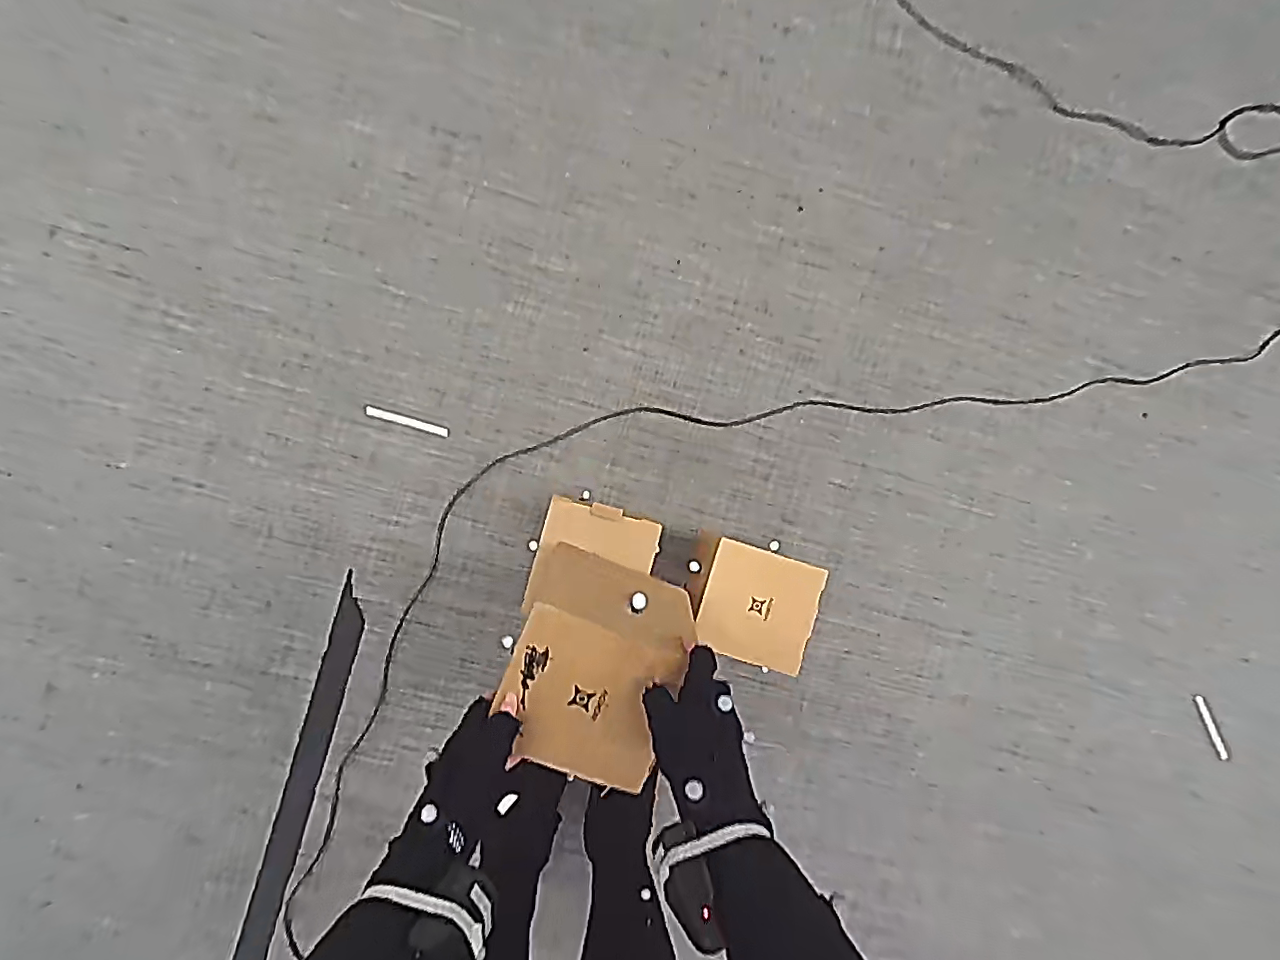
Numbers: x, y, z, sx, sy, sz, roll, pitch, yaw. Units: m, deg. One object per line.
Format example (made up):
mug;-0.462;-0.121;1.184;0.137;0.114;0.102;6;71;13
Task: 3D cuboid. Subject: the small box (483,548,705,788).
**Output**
small box;-0.049;0.196;0.610;0.179;0.176;0.168;23;101;-7

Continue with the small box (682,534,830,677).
small box;0.170;0.190;0.873;0.179;0.176;0.168;18;88;-6

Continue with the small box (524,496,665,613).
small box;-0.071;0.127;0.849;0.168;0.176;0.179;16;89;-4
